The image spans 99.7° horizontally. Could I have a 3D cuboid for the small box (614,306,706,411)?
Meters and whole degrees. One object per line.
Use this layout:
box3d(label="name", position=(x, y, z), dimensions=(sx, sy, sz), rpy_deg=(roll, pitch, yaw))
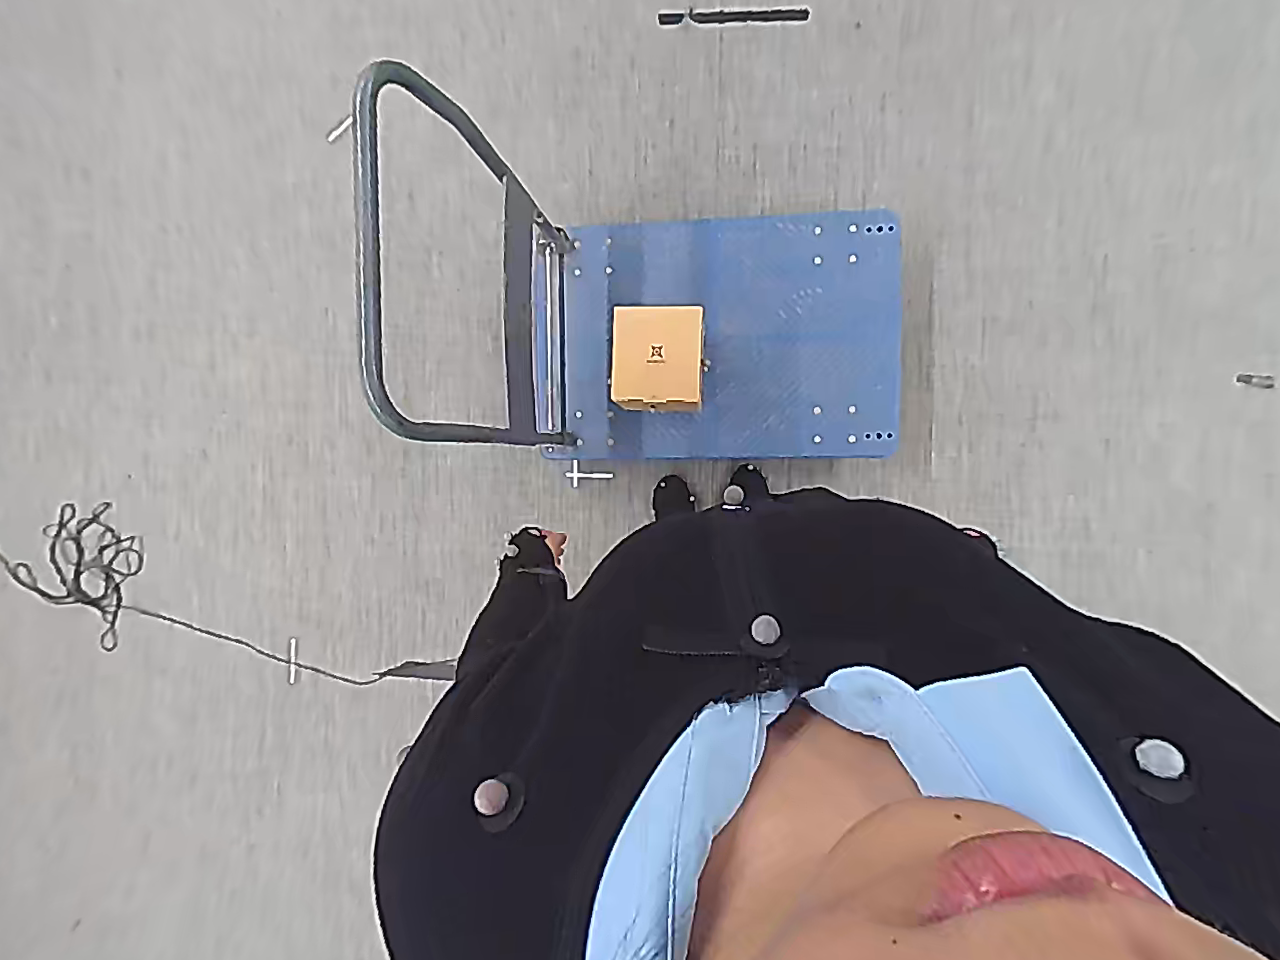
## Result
box3d(label="small box", position=(0.043, -0.234, 1.071), dimensions=(0.168, 0.176, 0.179), rpy_deg=(2, 93, 6))
